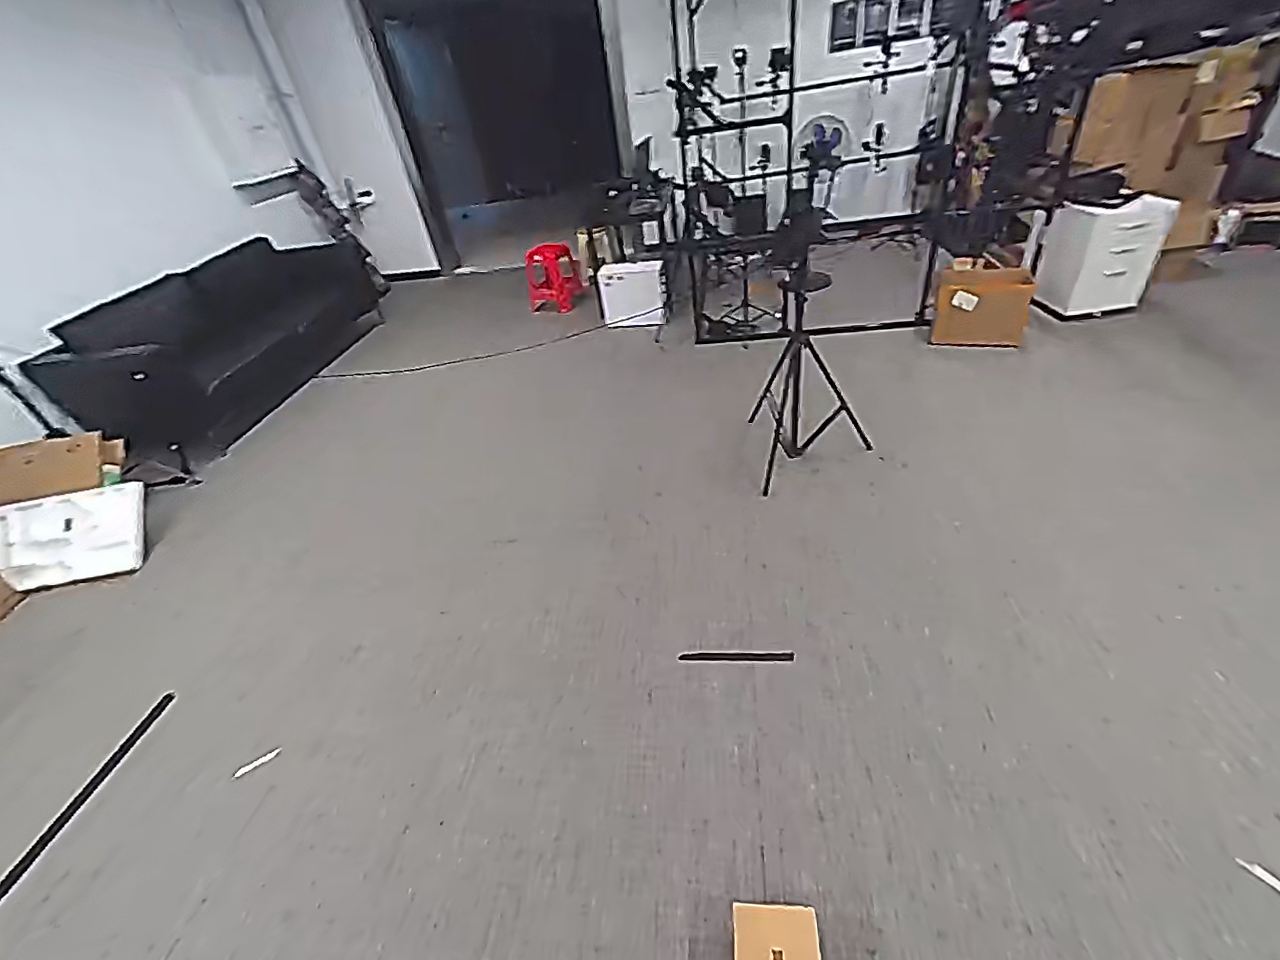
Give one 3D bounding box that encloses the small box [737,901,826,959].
[{"bbox_3d":[0.280,0.977,1.077,0.168,0.176,0.179,-3,38,9],"label":"small box"}]
